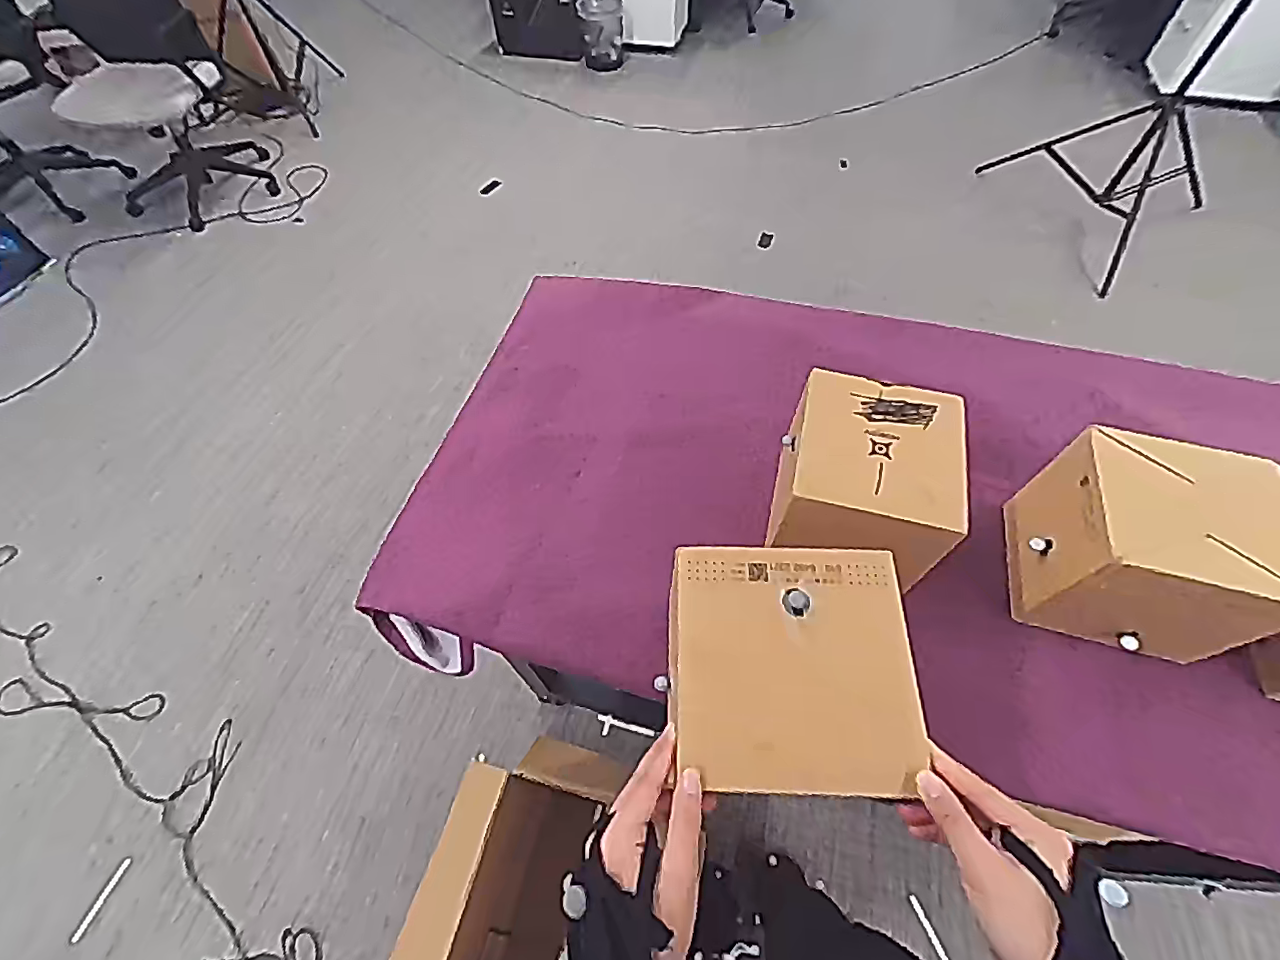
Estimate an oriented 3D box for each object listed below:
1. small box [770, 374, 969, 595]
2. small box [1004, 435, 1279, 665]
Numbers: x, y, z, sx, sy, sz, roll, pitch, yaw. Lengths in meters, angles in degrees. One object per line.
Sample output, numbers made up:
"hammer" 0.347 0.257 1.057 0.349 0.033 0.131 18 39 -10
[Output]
"small box" 0.257 0.009 0.633 0.168 0.176 0.179 13 58 10
"small box" 0.534 0.072 0.582 0.179 0.176 0.168 14 57 11
